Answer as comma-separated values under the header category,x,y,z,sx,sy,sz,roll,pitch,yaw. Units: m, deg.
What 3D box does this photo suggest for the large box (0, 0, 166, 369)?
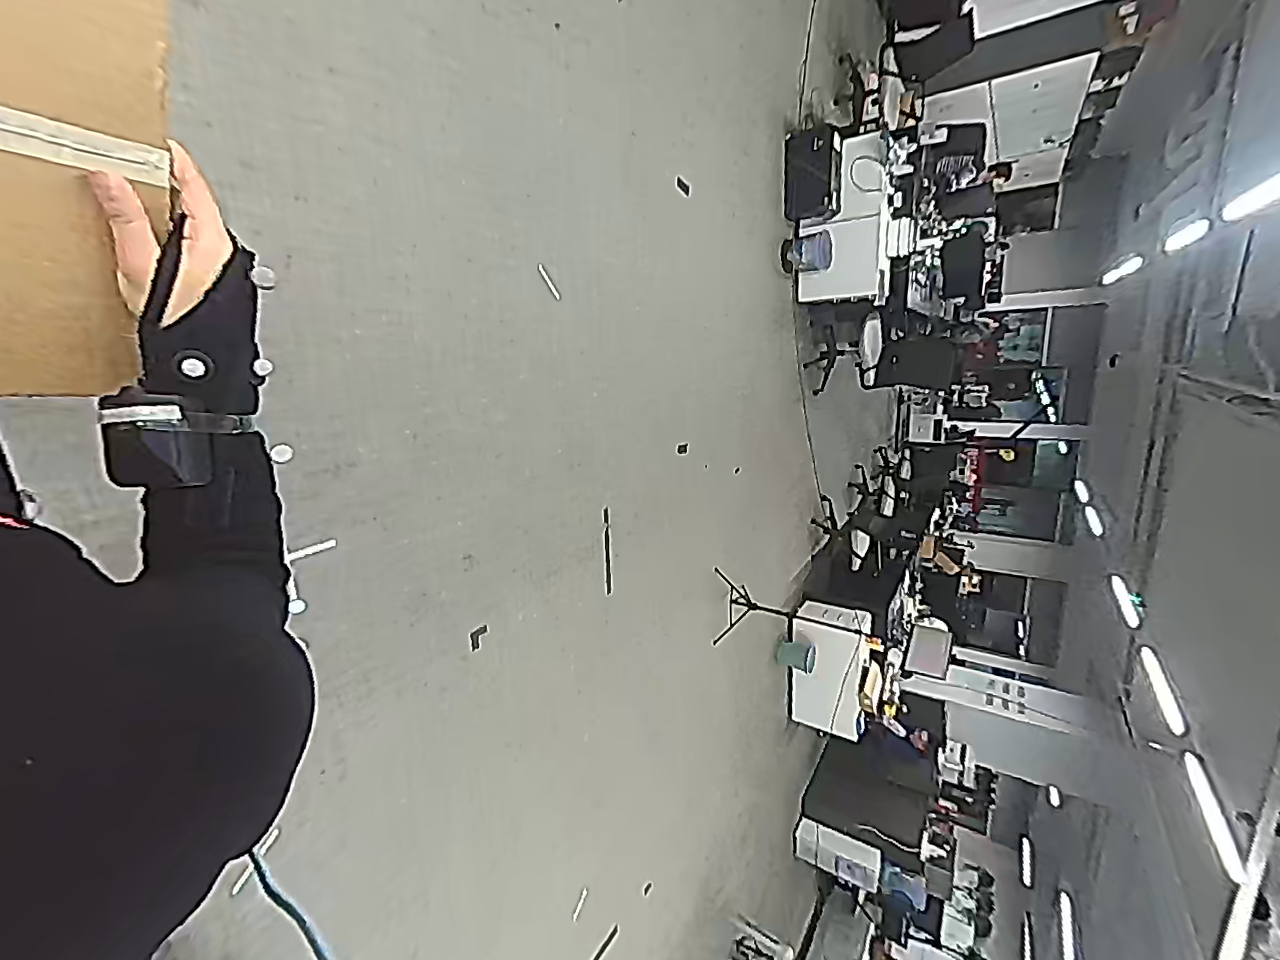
category,x,y,z,sx,sy,sz,roll,pitch,yaw
large box,-0.529,-0.260,0.250,0.408,0.320,0.320,-13,135,-53
